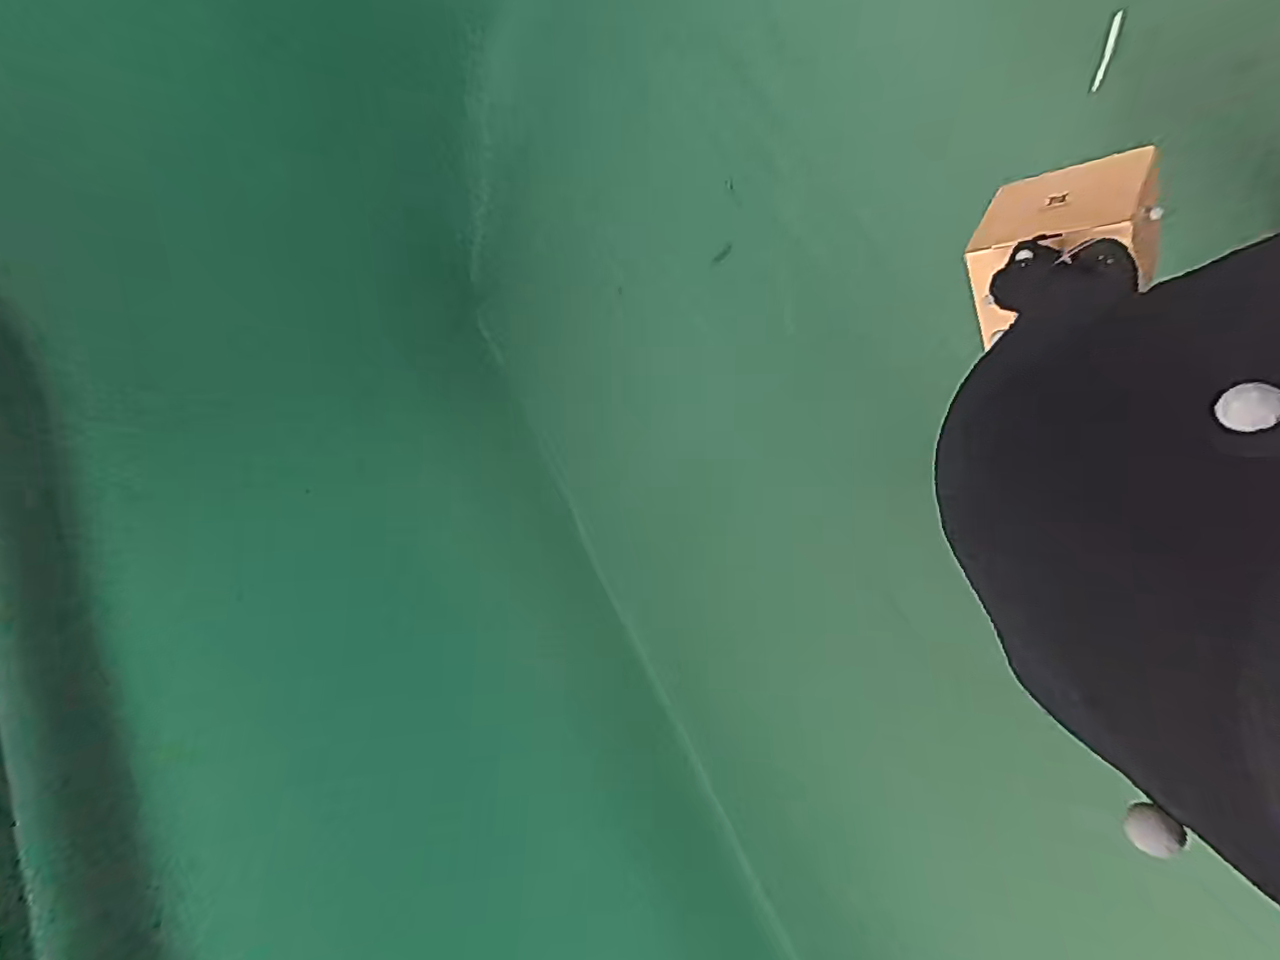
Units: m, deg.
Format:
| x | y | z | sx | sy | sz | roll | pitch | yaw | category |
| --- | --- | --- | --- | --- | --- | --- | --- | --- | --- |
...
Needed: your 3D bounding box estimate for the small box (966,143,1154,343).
| x | y | z | sx | sy | sz | roll | pitch | yaw | category |
| --- | --- | --- | --- | --- | --- | --- | --- | --- | --- |
| 0.573 | -0.310 | 0.737 | 0.168 | 0.179 | 0.176 | 8 | 143 | 48 | small box |
